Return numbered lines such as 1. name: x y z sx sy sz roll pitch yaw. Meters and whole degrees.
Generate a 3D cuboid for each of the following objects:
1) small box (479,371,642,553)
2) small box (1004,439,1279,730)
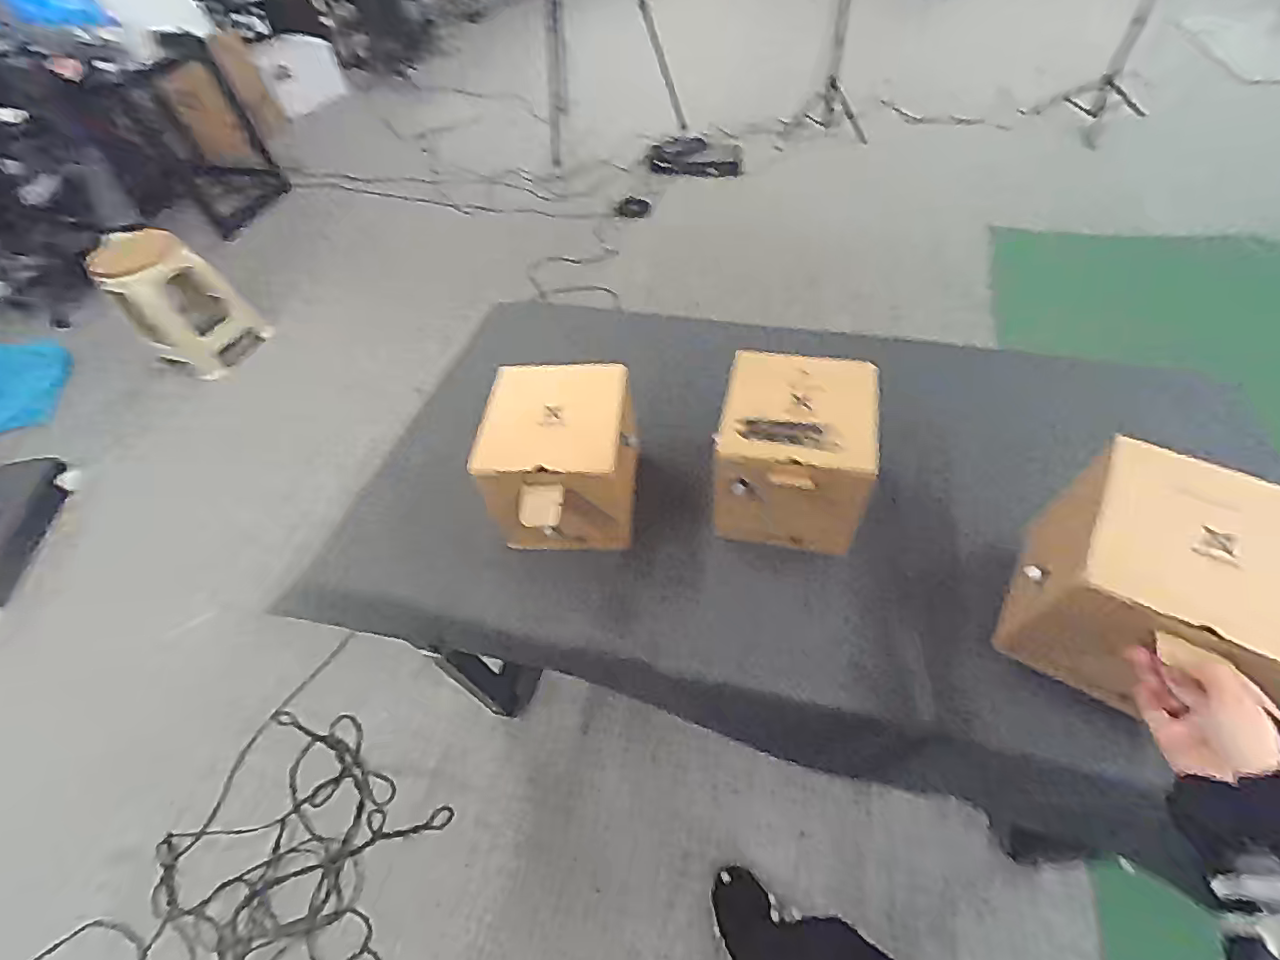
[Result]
1. small box: -0.089 -0.023 0.709 0.168 0.176 0.179 0 53 6
2. small box: 0.475 0.101 0.502 0.168 0.176 0.179 26 61 22
